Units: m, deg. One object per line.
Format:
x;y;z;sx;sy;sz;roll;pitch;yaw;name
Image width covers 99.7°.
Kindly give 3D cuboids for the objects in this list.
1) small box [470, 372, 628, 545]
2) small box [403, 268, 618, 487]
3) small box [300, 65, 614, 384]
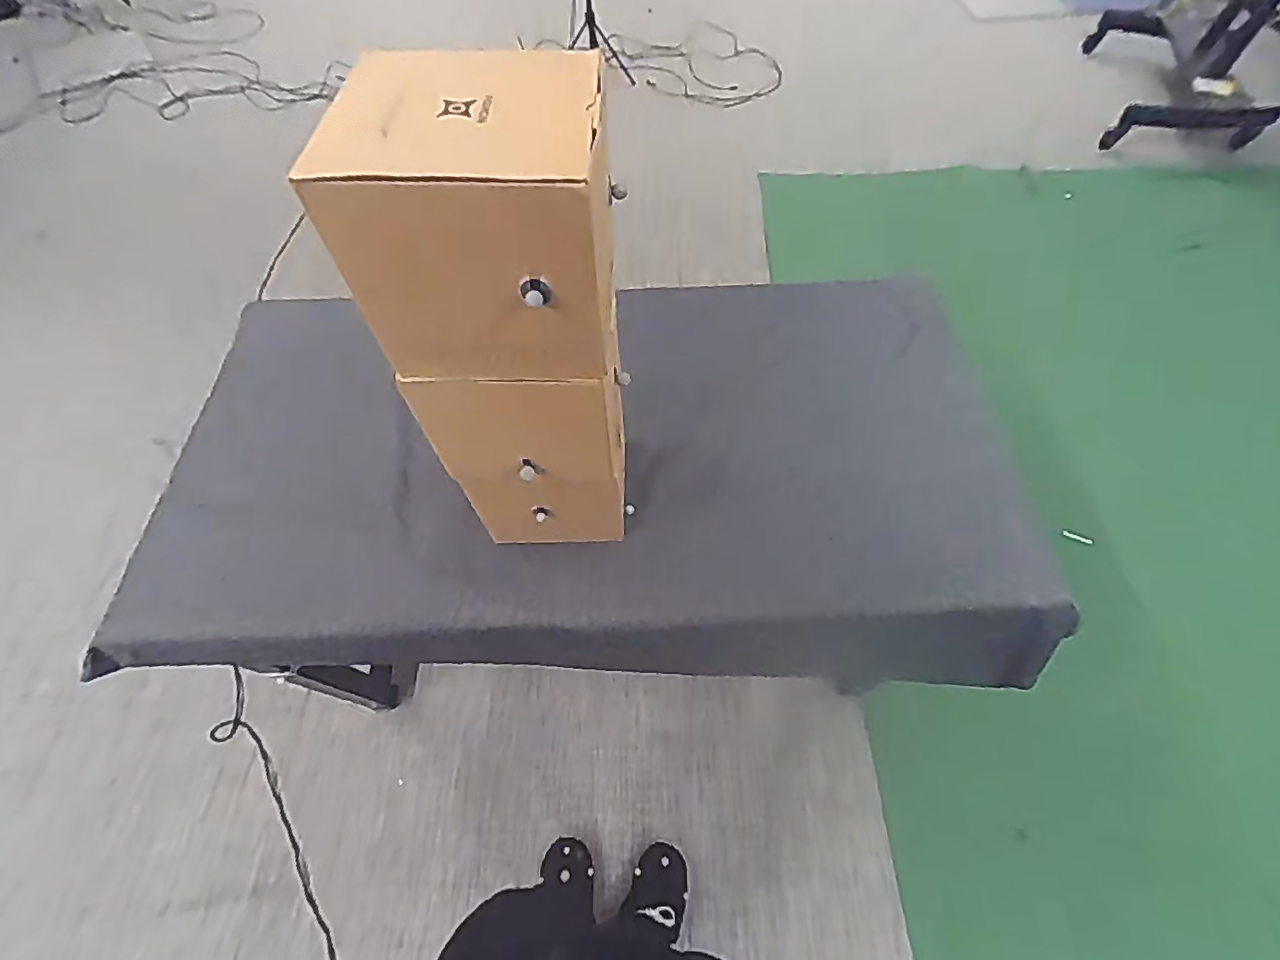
-0.108;-0.024;0.706;0.179;0.176;0.168;-4;59;-3;small box
-0.113;-0.103;0.563;0.179;0.176;0.168;0;59;0;small box
-0.112;-0.190;0.425;0.179;0.176;0.168;-1;58;1;small box
